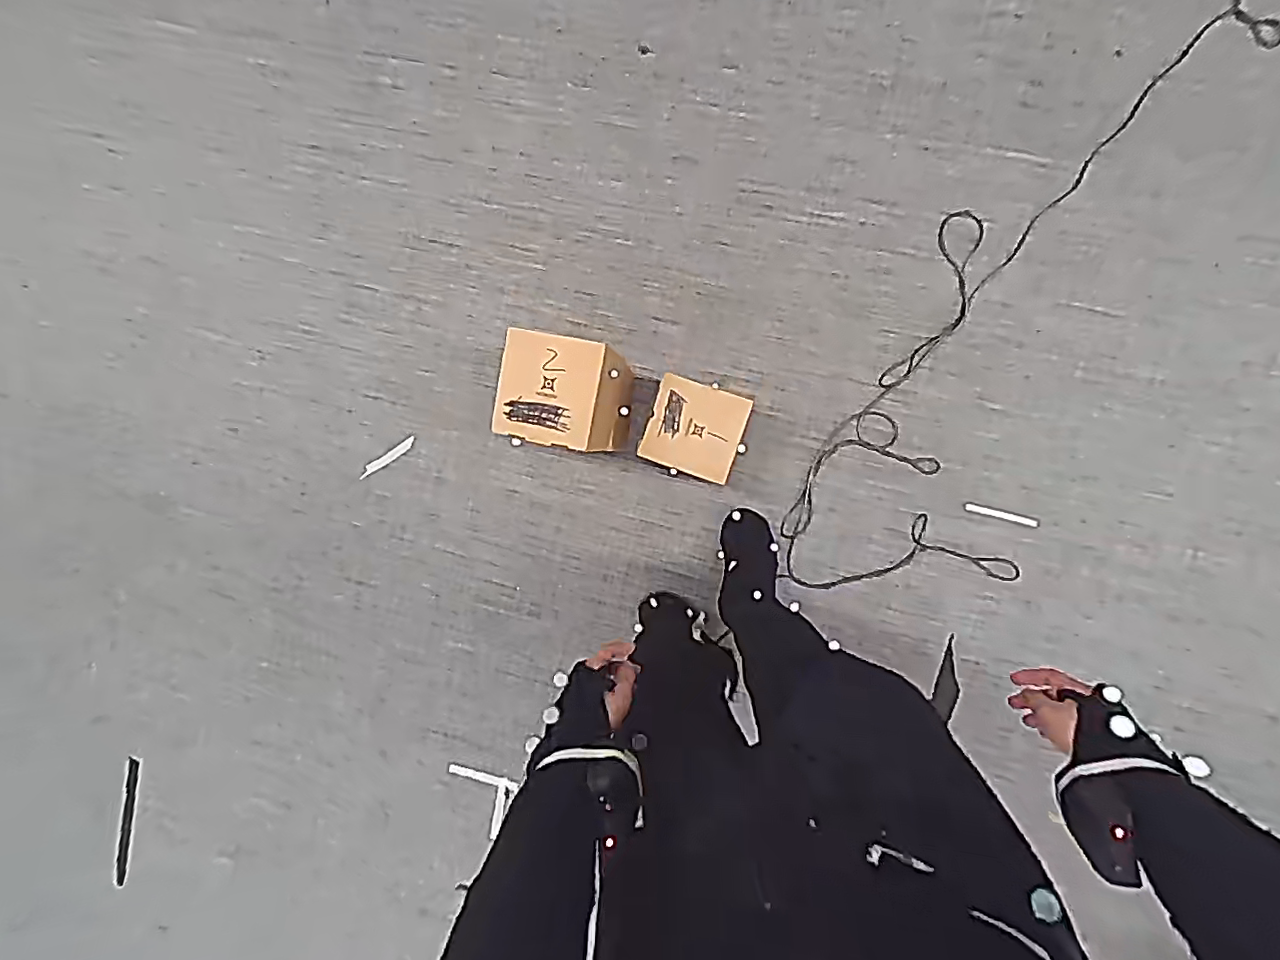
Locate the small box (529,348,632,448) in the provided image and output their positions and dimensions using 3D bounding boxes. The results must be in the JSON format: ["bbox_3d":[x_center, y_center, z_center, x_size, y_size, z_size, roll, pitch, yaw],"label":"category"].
[{"bbox_3d":[-0.114,-0.161,1.103,0.168,0.176,0.179,7,95,8],"label":"small box"}]

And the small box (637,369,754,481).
[{"bbox_3d":[0.111,-0.105,1.070,0.179,0.176,0.168,20,97,6],"label":"small box"}]
